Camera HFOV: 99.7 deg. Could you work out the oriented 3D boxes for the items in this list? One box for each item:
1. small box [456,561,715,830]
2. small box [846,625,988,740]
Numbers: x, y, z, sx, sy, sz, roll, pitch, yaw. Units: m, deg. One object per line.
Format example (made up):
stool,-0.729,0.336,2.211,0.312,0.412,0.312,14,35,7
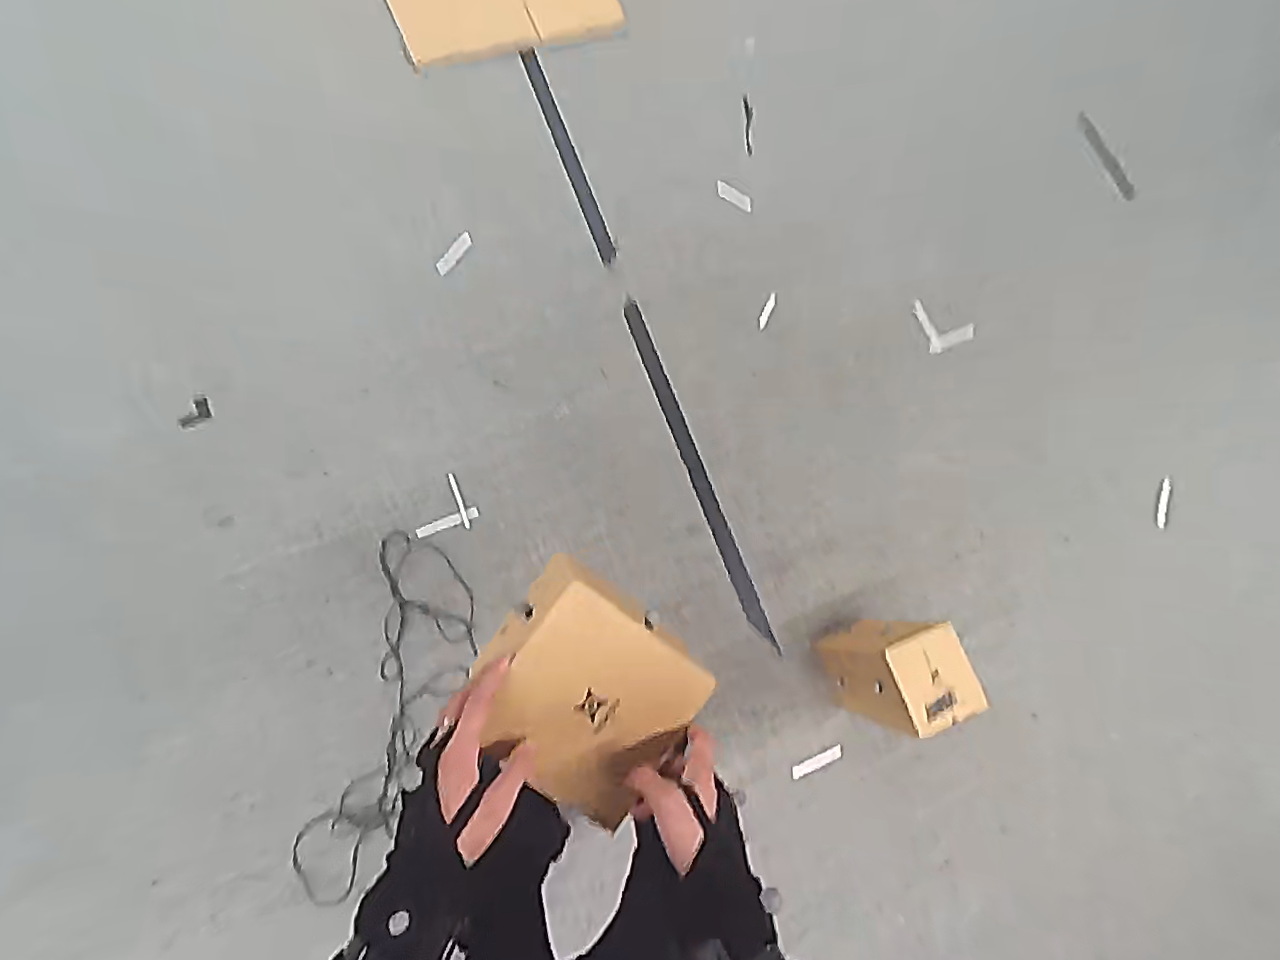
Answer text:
small box,-0.061,0.199,0.557,0.179,0.176,0.168,39,83,-12
small box,0.574,0.417,1.144,0.168,0.176,0.179,-18,78,-12
